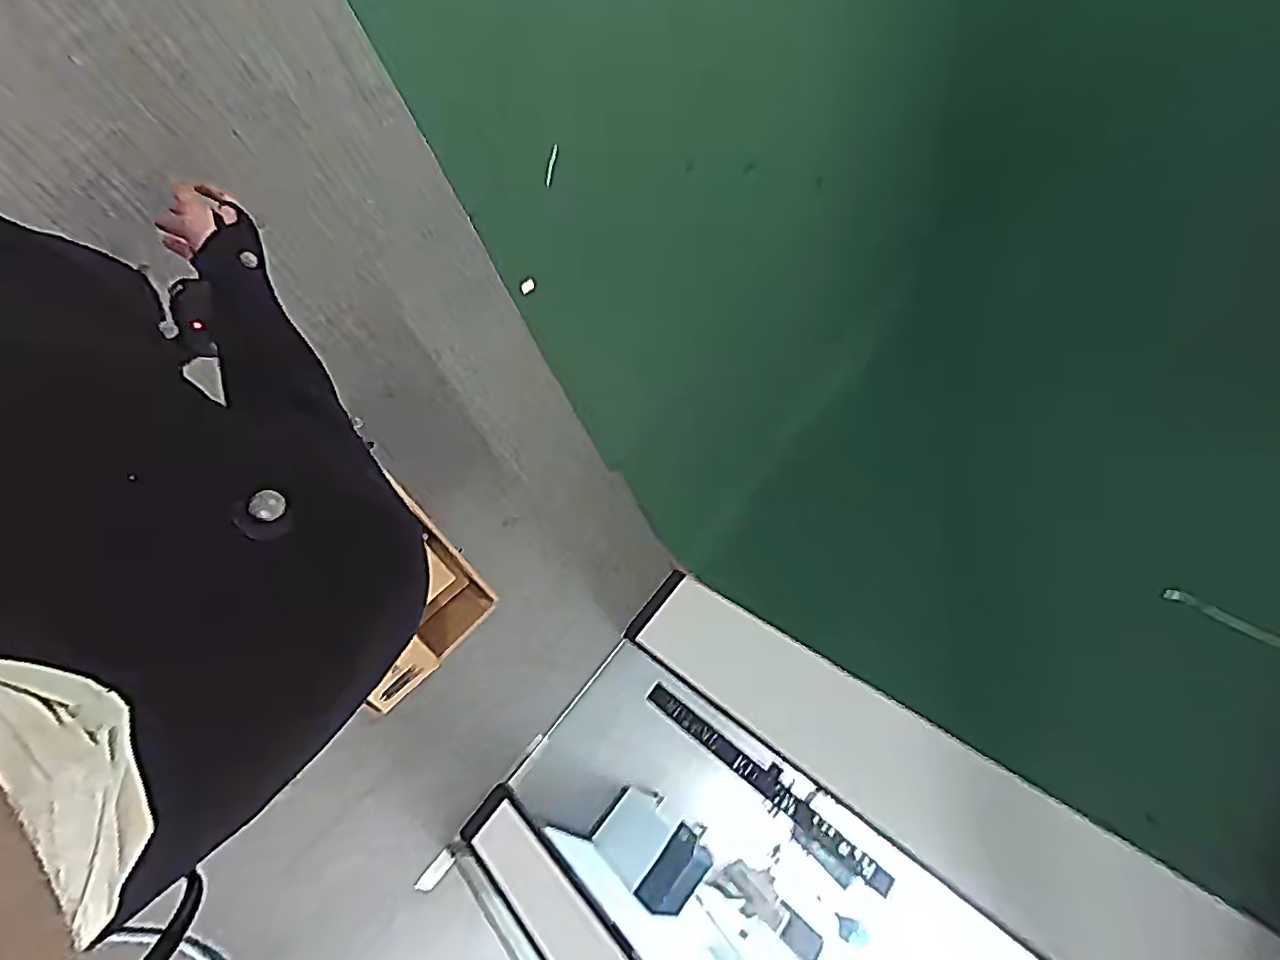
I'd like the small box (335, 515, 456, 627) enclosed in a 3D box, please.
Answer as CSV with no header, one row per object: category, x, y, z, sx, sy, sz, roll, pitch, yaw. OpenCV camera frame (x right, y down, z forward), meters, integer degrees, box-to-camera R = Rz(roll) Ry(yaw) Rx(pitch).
small box,-0.578,0.204,1.274,0.168,0.176,0.179,-42,137,-22
